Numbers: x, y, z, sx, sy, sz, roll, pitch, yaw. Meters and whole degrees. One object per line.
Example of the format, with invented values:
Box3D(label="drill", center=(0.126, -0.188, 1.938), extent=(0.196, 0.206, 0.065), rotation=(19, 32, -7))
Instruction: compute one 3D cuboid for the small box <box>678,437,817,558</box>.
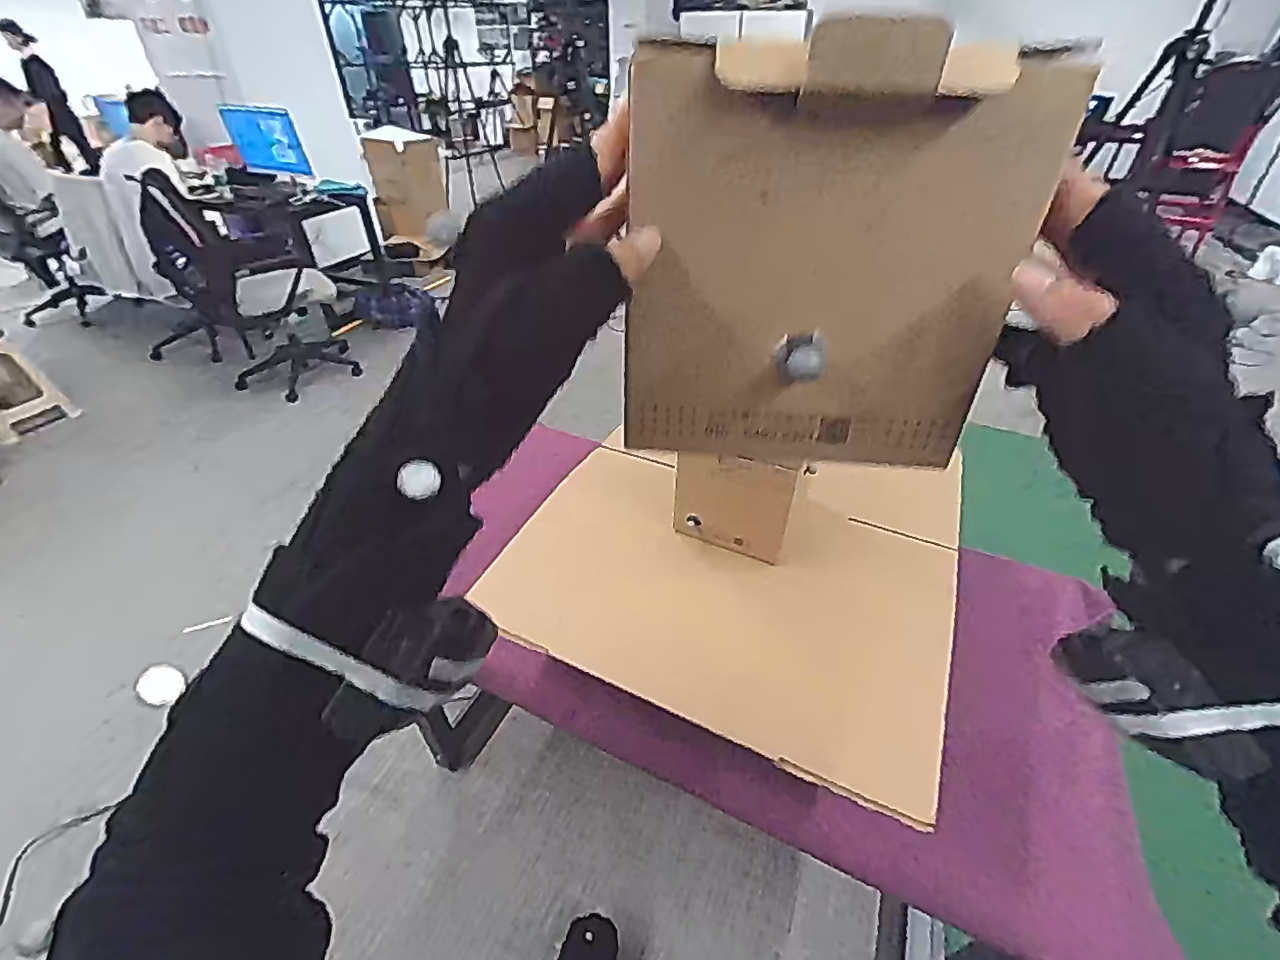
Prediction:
Box3D(label="small box", center=(0.164, -0.013, 0.807), extent=(0.168, 0.176, 0.179), rotation=(18, 40, 21))

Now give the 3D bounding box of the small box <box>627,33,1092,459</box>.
Box3D(label="small box", center=(0.083, -0.130, 0.306), extent=(0.168, 0.176, 0.179), rotation=(4, 34, 4))
